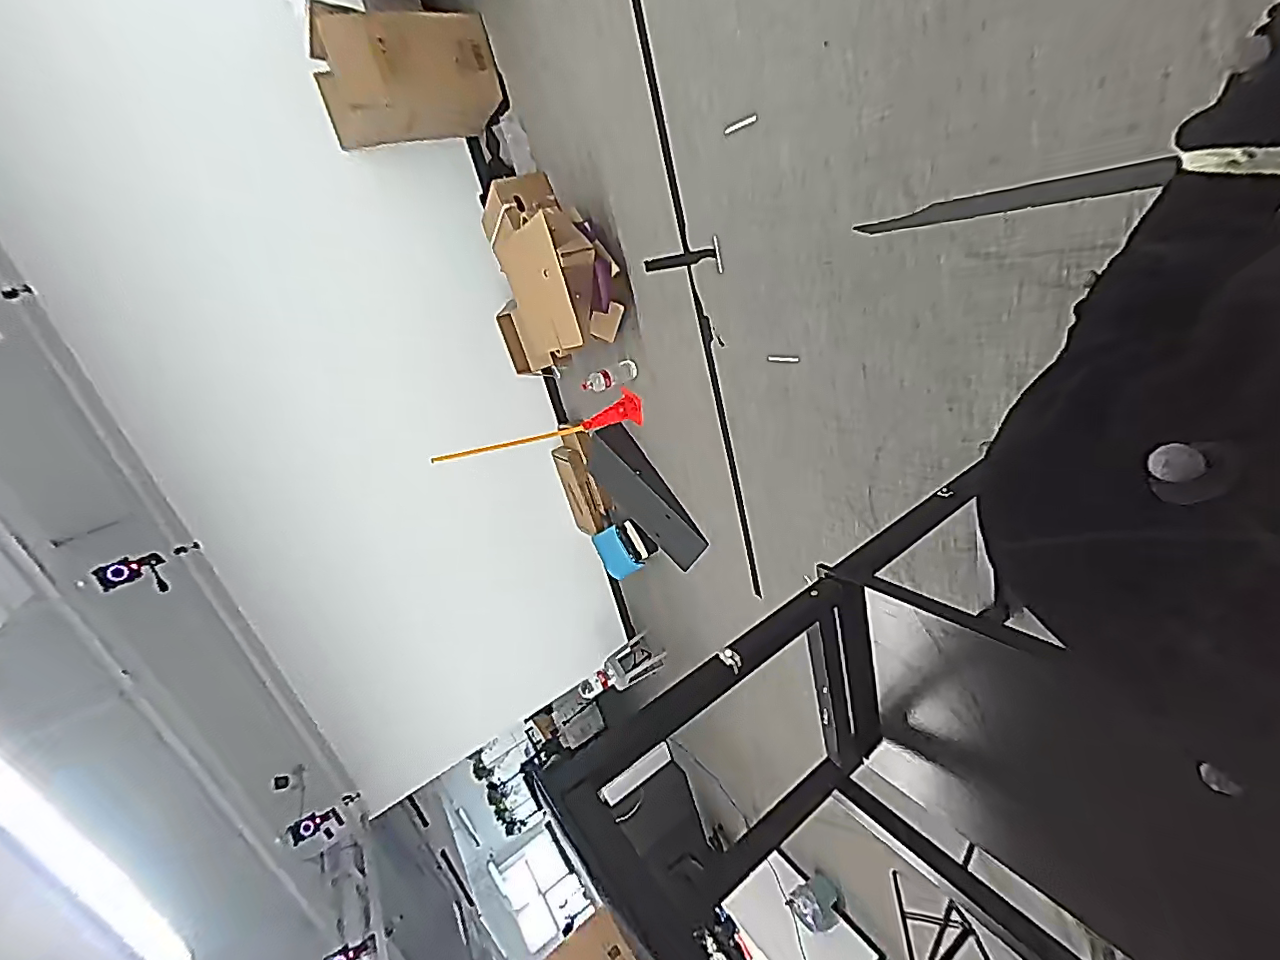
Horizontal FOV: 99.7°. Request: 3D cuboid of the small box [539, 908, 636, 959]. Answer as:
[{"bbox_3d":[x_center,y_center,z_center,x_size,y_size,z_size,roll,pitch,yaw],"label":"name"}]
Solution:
[{"bbox_3d":[-0.055,0.719,0.693,0.168,0.176,0.179,22,134,54],"label":"small box"}]
